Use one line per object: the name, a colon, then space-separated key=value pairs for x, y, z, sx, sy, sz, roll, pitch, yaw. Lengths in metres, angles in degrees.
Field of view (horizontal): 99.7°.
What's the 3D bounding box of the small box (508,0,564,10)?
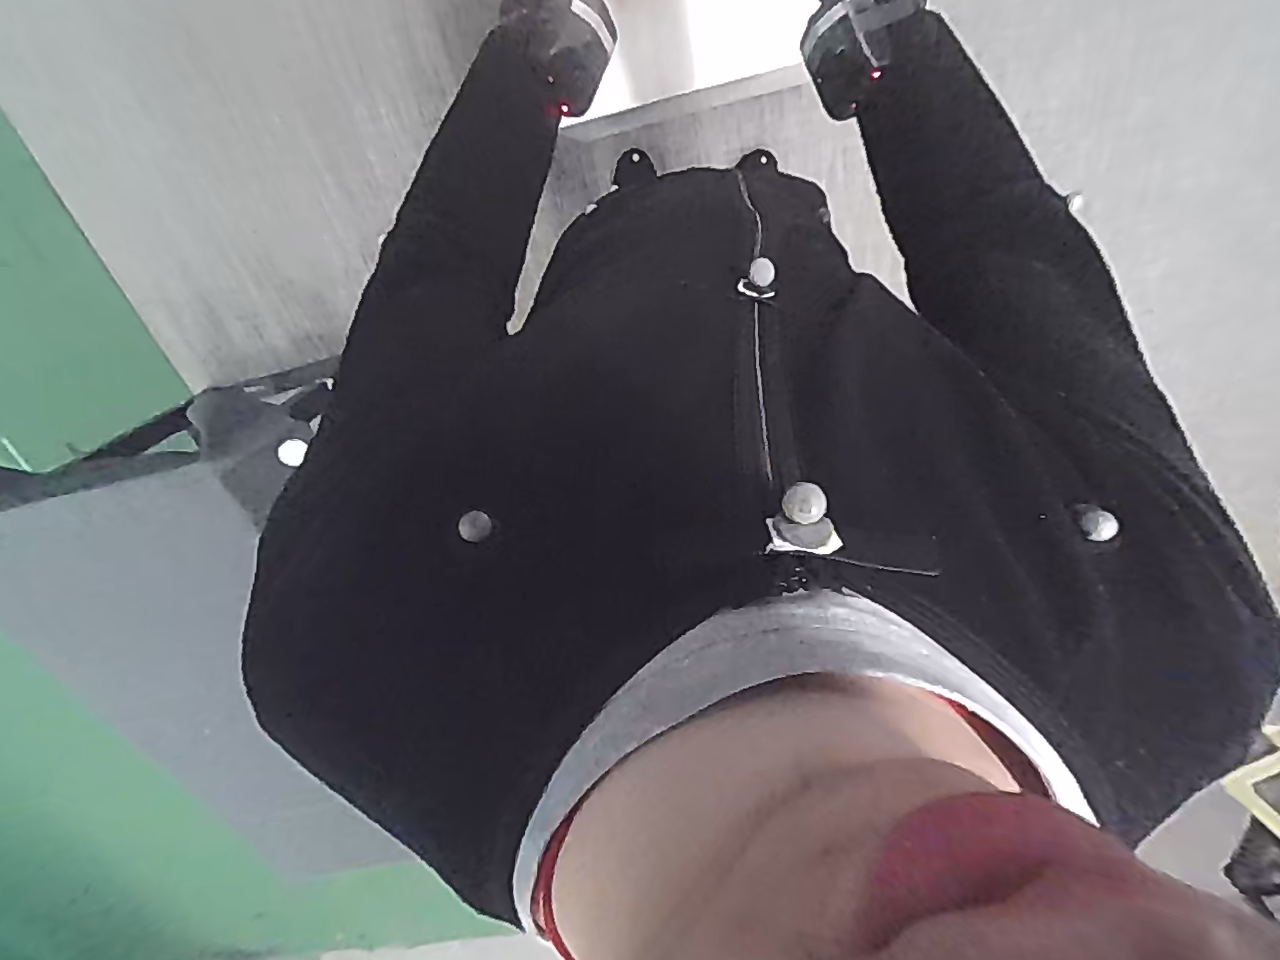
small box: x=-0.086 y=-0.628 z=0.559 sx=0.179 sy=0.176 sz=0.168 roll=-12 pitch=120 yaw=4
